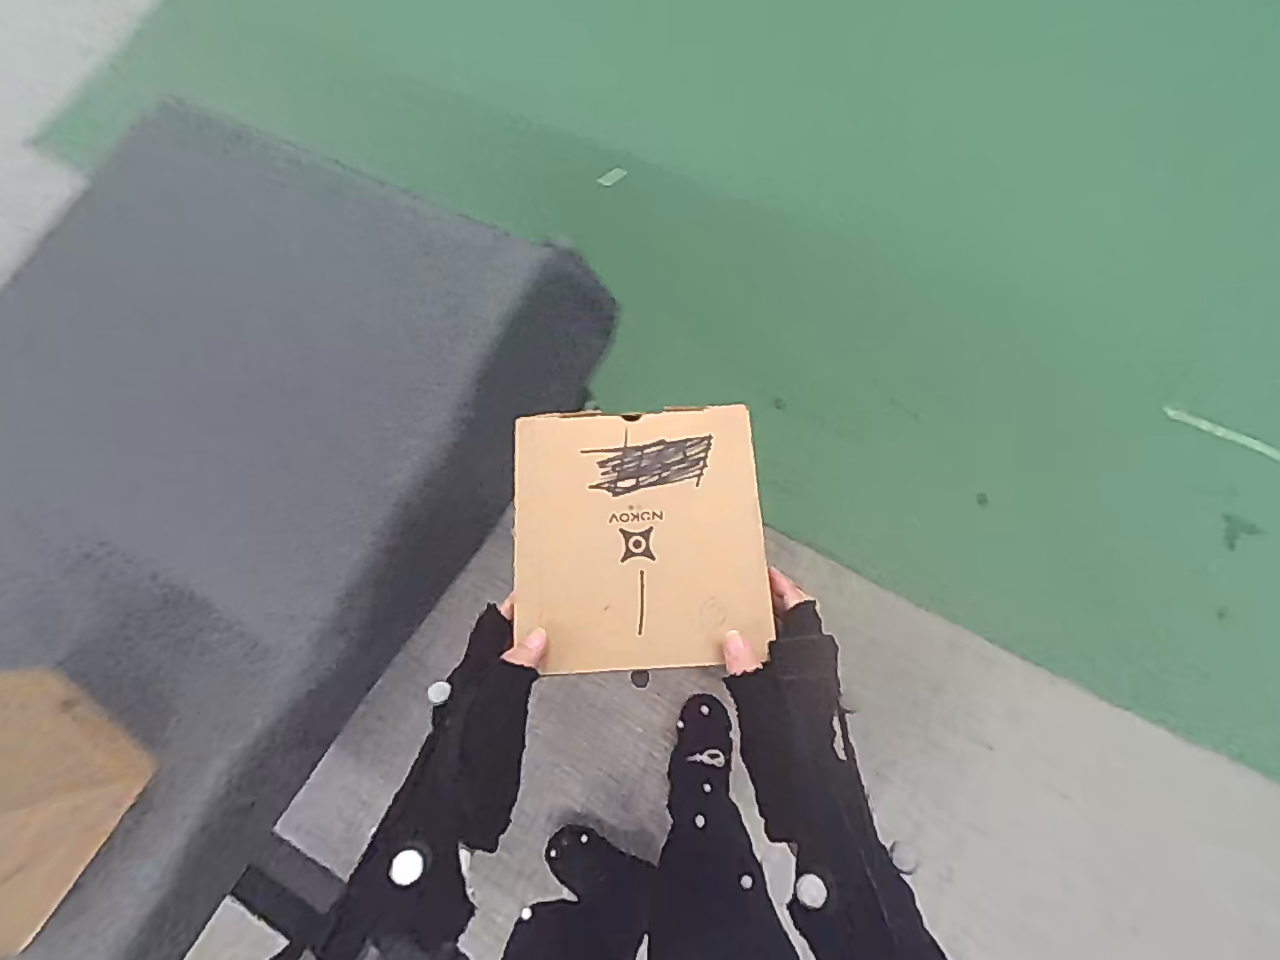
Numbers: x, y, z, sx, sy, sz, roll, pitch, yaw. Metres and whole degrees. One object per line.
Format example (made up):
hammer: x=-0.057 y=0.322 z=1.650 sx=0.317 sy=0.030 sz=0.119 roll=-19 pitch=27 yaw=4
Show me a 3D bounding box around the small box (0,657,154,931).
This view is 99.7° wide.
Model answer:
small box: x=-0.569 y=0.264 z=0.437 sx=0.168 sy=0.176 sz=0.179 roll=31 pitch=80 yaw=13
